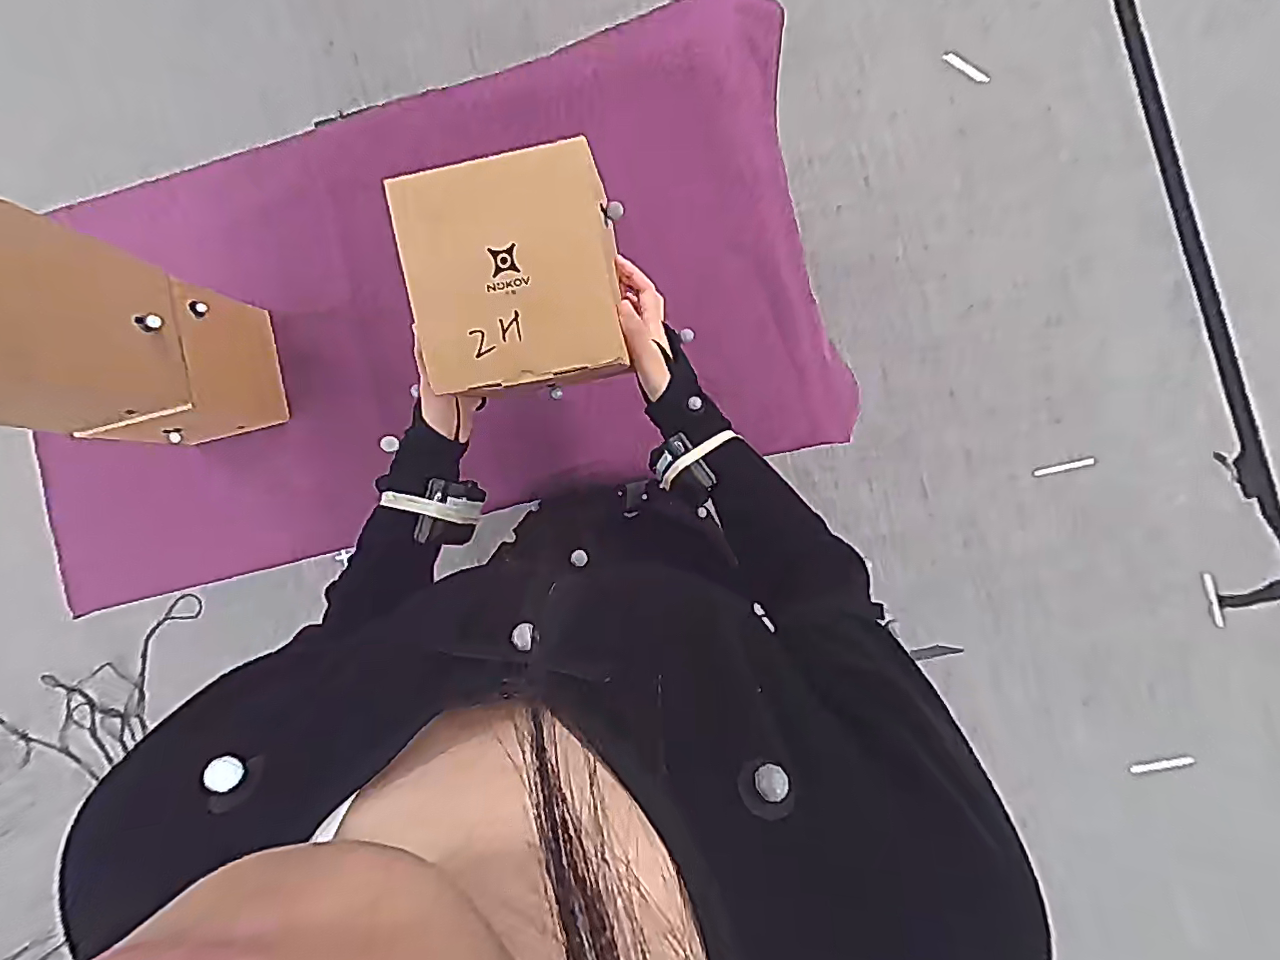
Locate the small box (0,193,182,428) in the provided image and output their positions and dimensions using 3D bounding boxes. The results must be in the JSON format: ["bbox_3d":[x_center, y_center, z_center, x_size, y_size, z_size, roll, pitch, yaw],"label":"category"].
[{"bbox_3d":[-0.650,-0.166,0.580,0.168,0.176,0.179,-13,88,5],"label":"small box"}]

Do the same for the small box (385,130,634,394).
[{"bbox_3d":[-0.103,-0.182,0.507,0.168,0.176,0.179,-9,97,6],"label":"small box"}]

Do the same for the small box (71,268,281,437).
[{"bbox_3d":[-0.635,-0.159,0.743,0.168,0.176,0.179,-12,88,4],"label":"small box"}]
